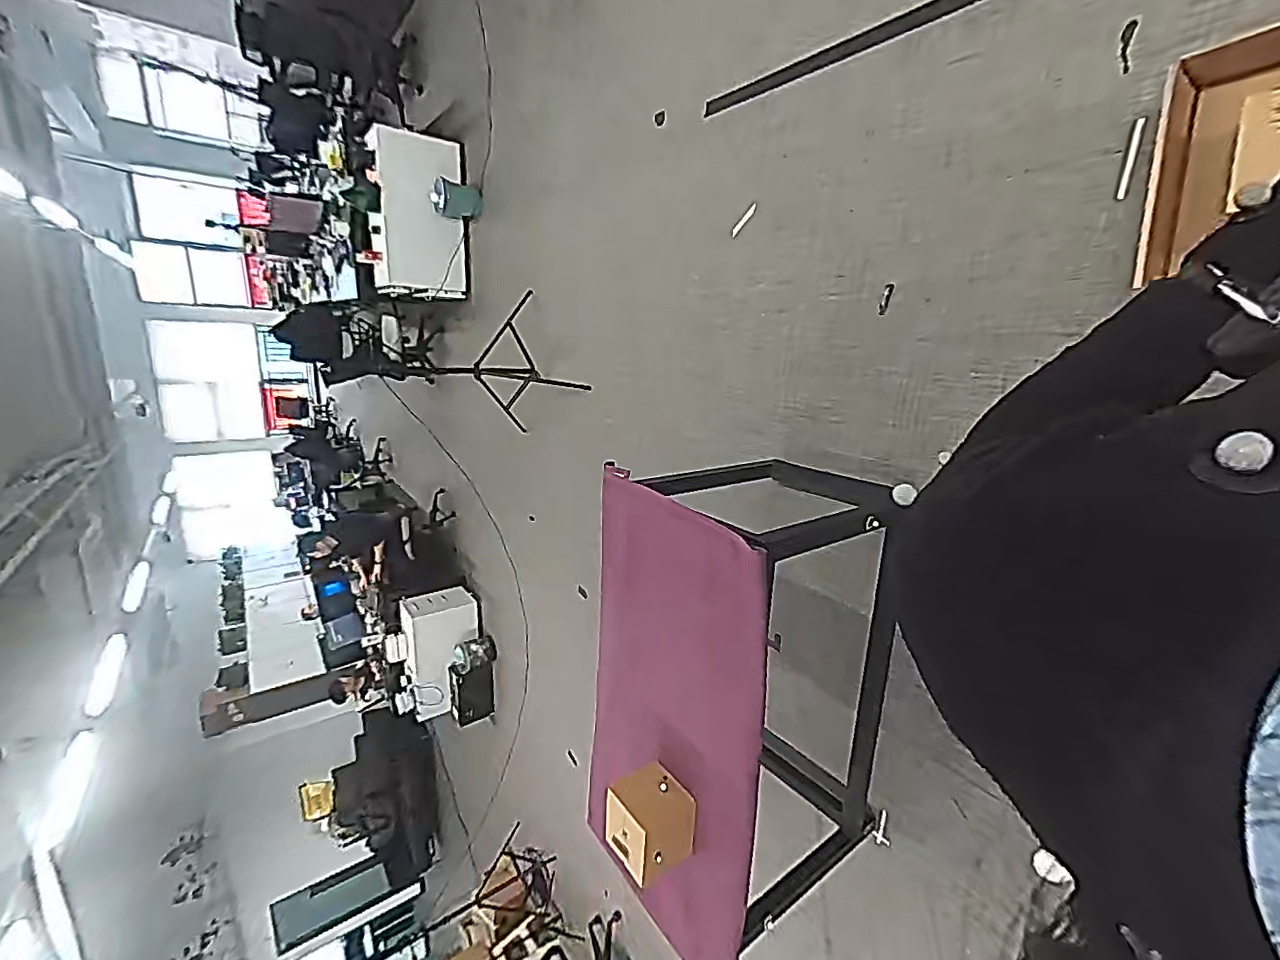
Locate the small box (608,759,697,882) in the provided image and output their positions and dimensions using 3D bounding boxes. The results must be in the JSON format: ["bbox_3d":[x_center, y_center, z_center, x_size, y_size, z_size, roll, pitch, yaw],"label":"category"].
[{"bbox_3d":[0.031,0.879,1.412,0.168,0.176,0.179,22,113,50],"label":"small box"}]
